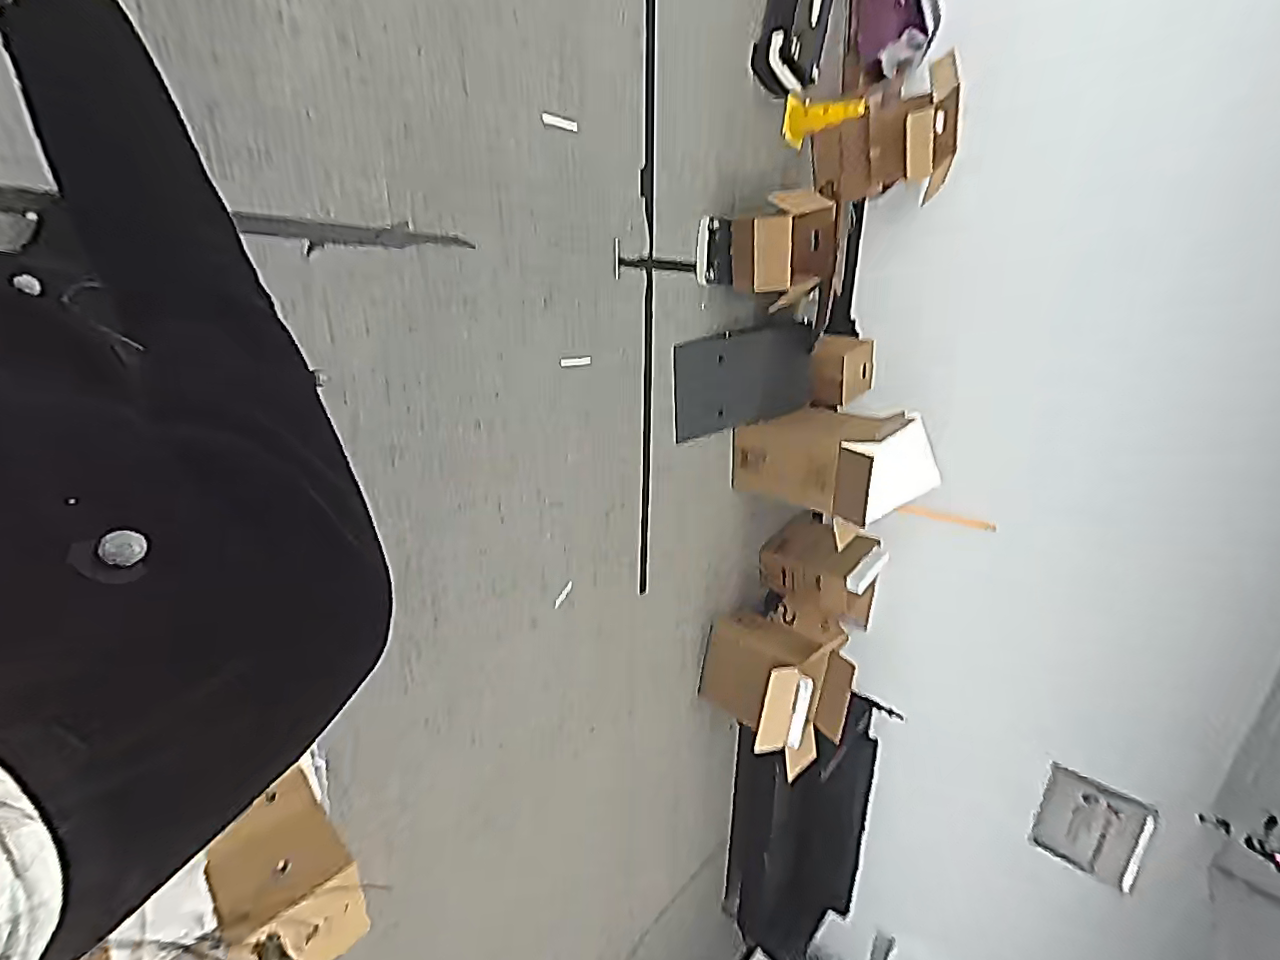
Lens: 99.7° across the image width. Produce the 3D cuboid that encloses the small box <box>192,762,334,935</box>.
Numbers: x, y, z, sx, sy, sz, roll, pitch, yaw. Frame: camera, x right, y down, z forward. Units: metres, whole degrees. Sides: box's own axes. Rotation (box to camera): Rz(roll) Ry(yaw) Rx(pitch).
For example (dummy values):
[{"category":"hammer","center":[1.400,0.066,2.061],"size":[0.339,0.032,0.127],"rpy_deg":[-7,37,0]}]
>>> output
[{"category":"small box","center":[-0.697,0.661,1.000],"size":[0.168,0.176,0.179],"rpy_deg":[-18,118,-43]}]

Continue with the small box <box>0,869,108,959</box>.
[{"category":"small box","center":[-0.905,0.725,0.782],"size":[0.168,0.176,0.179],"rpy_deg":[-23,121,-44]}]
